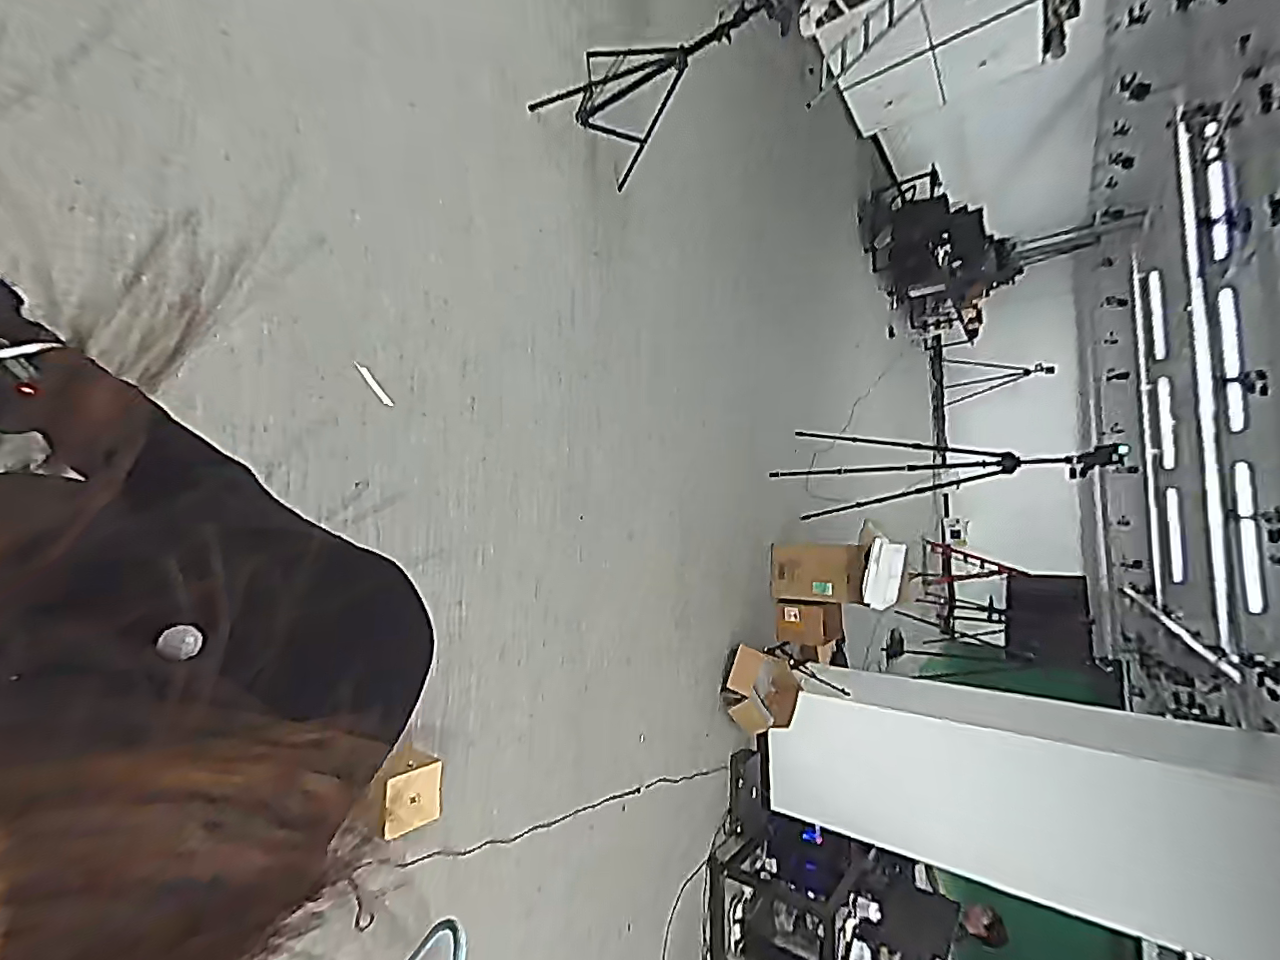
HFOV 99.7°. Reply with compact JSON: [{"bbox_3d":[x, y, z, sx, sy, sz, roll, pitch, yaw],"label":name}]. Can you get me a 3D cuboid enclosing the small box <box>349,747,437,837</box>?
[{"bbox_3d":[-0.740,0.924,1.623,0.179,0.176,0.168,9,79,-52],"label":"small box"}]
